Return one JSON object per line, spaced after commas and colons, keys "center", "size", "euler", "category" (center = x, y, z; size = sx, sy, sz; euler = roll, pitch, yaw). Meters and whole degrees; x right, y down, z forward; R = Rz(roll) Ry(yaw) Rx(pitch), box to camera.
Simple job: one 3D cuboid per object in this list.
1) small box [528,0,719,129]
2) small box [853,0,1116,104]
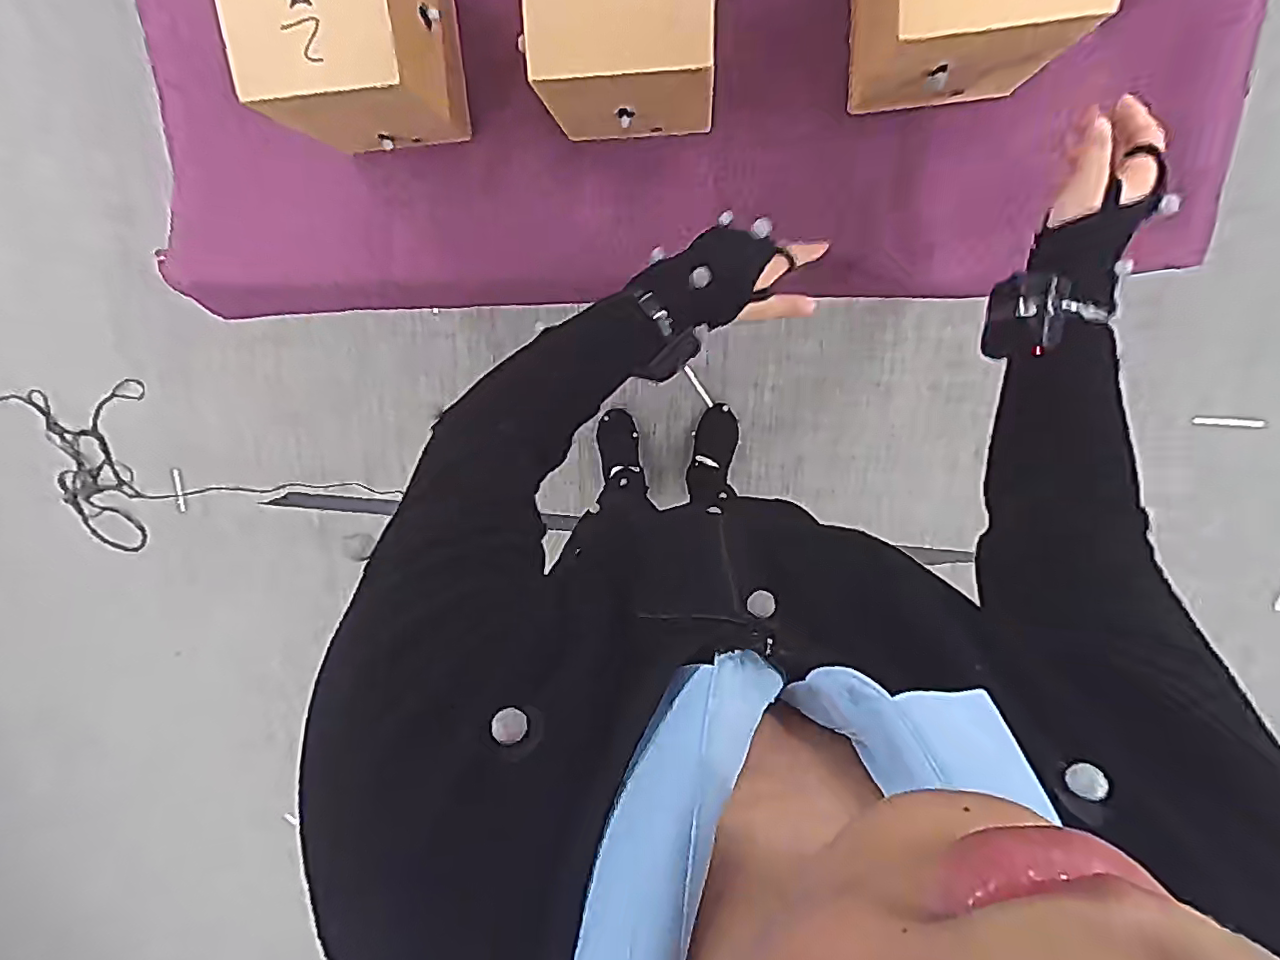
{"center": [-0.007, -0.464, 0.527], "size": [0.168, 0.176, 0.179], "euler": [1, 106, 5], "category": "small box"}
{"center": [0.300, -0.471, 0.491], "size": [0.168, 0.176, 0.179], "euler": [-2, 104, 8], "category": "small box"}
